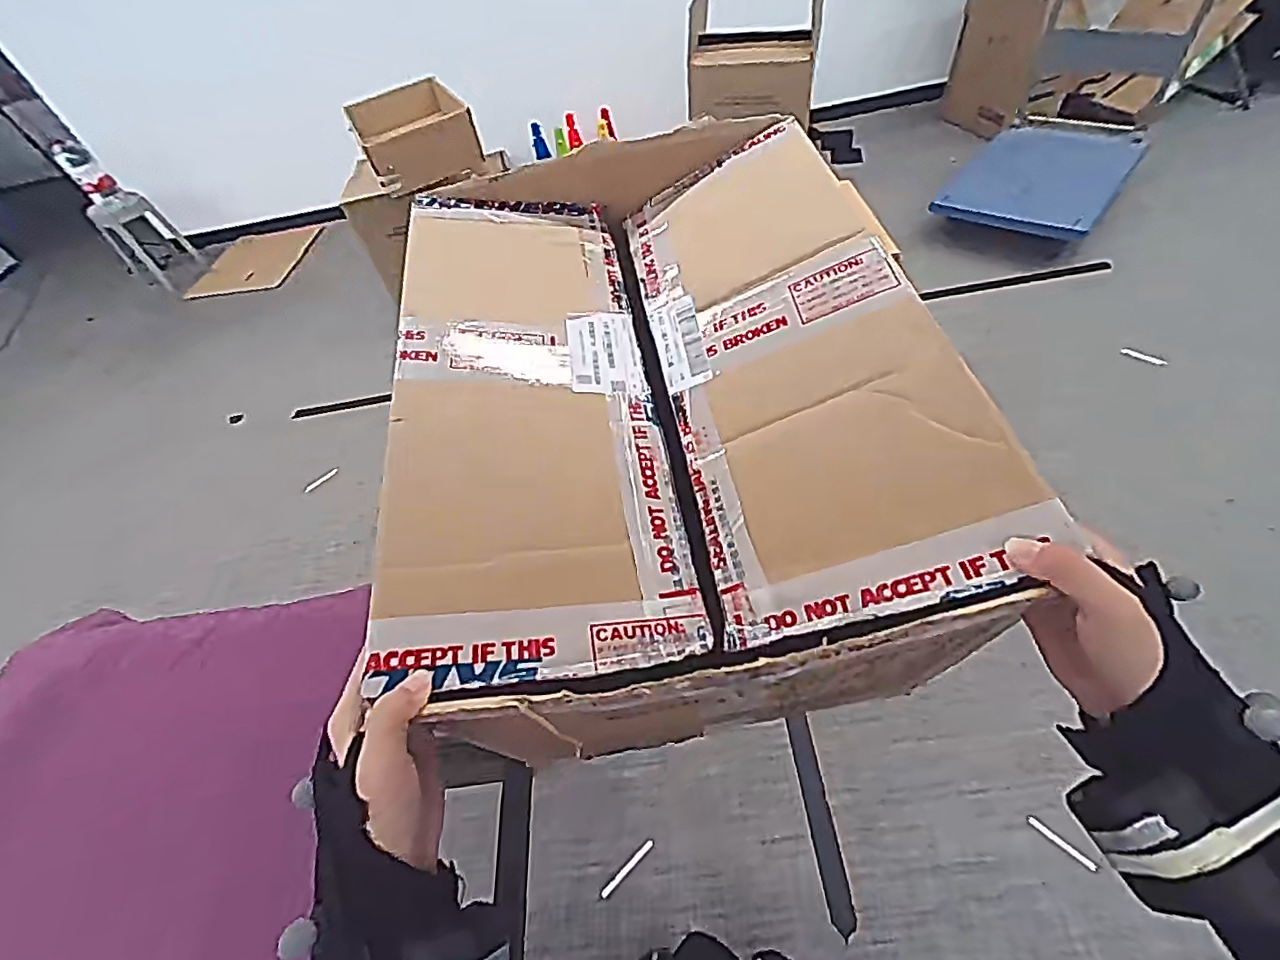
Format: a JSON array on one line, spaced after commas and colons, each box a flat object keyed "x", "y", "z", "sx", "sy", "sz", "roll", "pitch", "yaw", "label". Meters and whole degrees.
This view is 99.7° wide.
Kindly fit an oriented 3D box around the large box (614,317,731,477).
[{"x": 0.108, "y": -0.274, "z": 1.792, "sx": 0.320, "sy": 0.320, "sz": 0.408, "roll": -11, "pitch": 51, "yaw": 3, "label": "large box"}]
